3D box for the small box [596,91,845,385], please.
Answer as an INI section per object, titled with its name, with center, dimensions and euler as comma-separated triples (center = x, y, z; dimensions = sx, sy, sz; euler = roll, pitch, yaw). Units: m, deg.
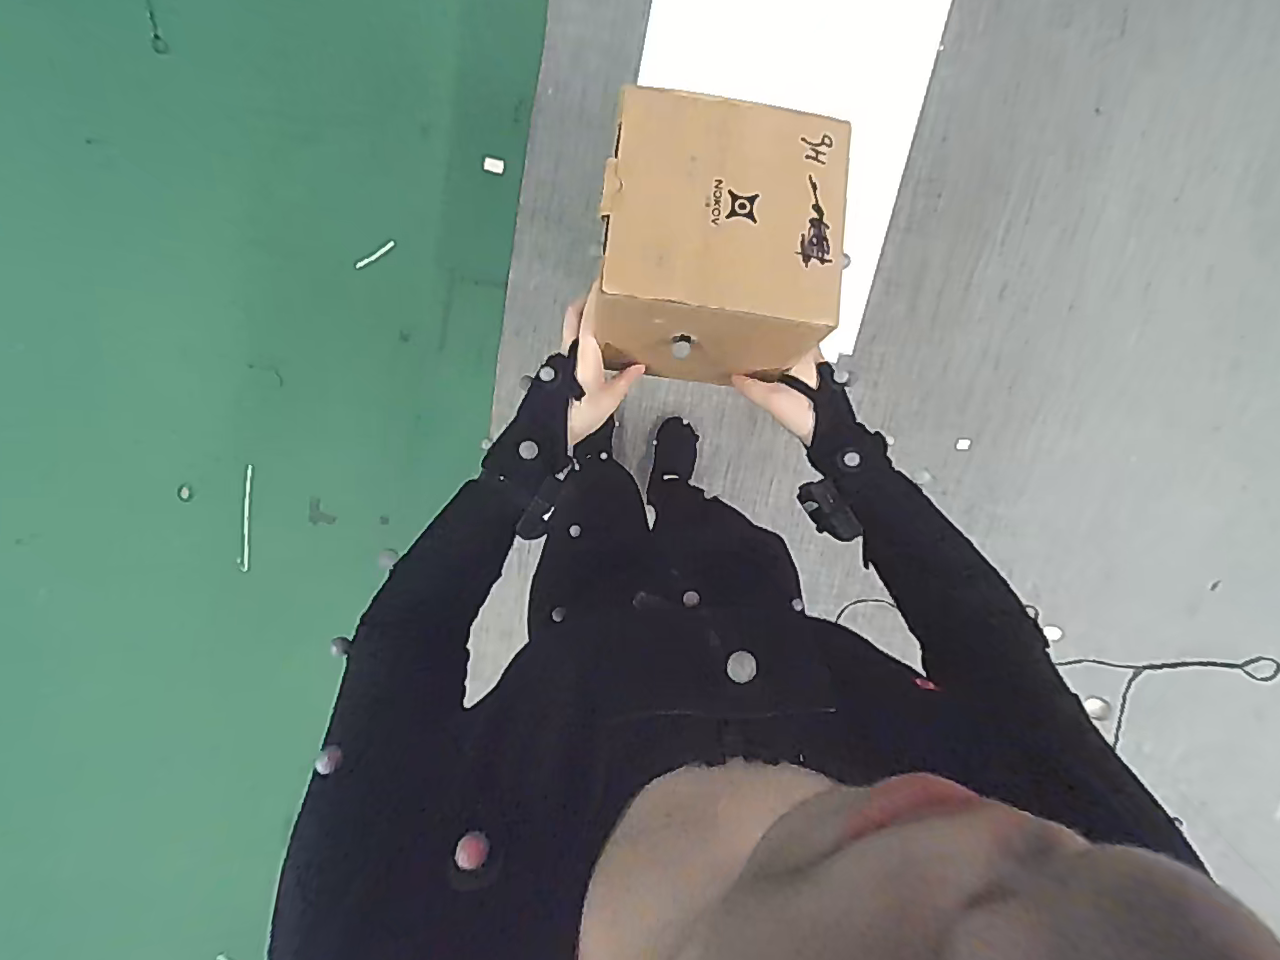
[small box]
center = 0.057, -0.192, 0.479
dimensions = 0.179, 0.176, 0.168
euler = 7, 83, -4
